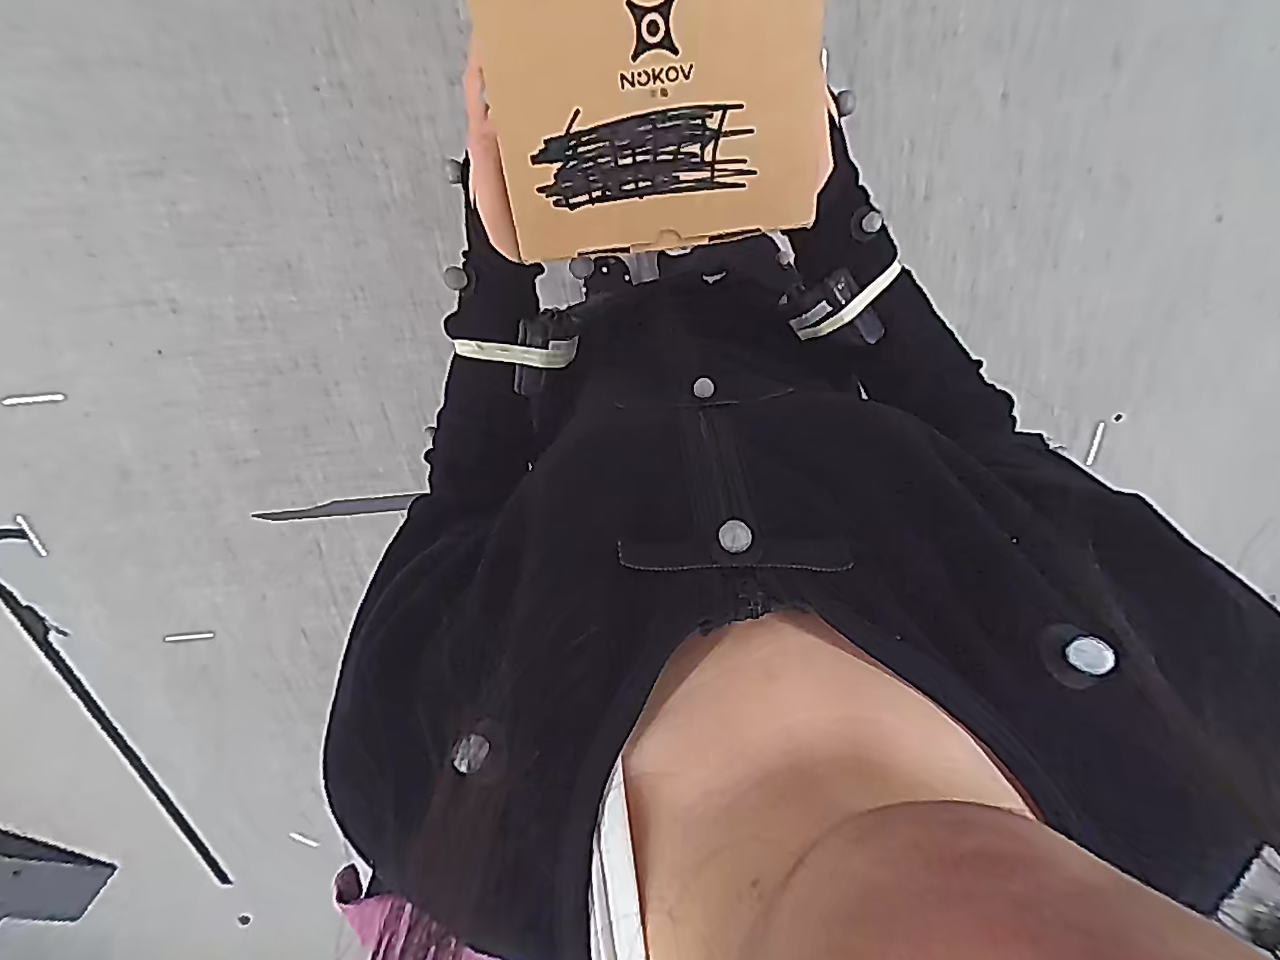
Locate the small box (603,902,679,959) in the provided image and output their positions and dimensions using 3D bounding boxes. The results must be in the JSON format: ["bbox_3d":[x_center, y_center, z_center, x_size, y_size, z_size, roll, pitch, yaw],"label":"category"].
[{"bbox_3d":[0.003,1.094,1.216,0.168,0.176,0.179,-4,116,-4],"label":"small box"}]
